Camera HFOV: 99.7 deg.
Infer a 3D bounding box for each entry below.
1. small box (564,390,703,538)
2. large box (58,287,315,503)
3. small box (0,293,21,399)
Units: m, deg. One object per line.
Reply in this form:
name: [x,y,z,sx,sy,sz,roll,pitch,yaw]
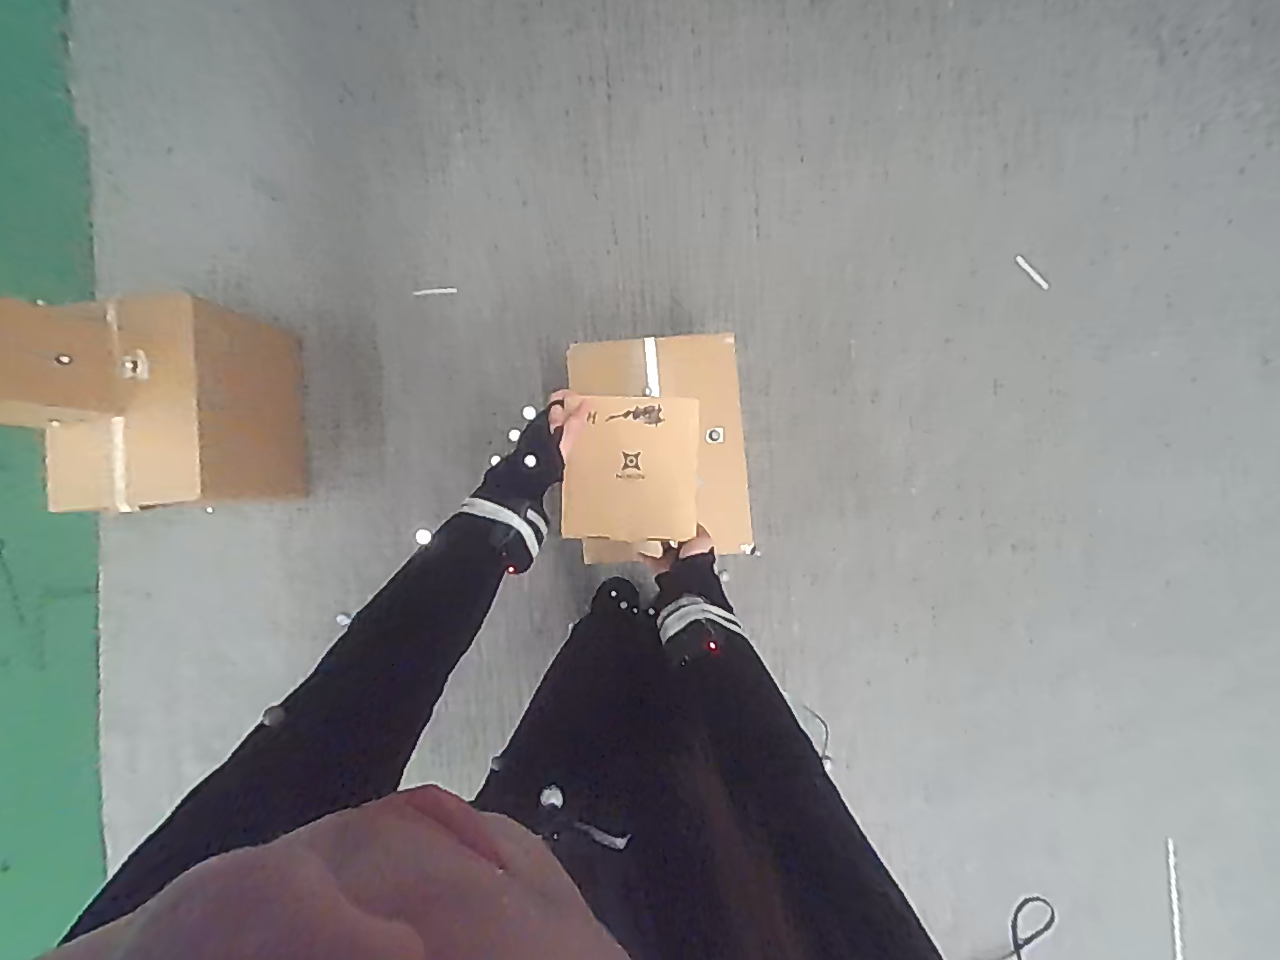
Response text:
small box: [-0.005,-0.024,0.728,0.168,0.176,0.179,1,93,2]
large box: [-0.975,-0.161,1.200,0.320,0.320,0.408,-4,88,4]
small box: [-1.089,-0.217,0.800,0.168,0.176,0.179,-4,90,6]
